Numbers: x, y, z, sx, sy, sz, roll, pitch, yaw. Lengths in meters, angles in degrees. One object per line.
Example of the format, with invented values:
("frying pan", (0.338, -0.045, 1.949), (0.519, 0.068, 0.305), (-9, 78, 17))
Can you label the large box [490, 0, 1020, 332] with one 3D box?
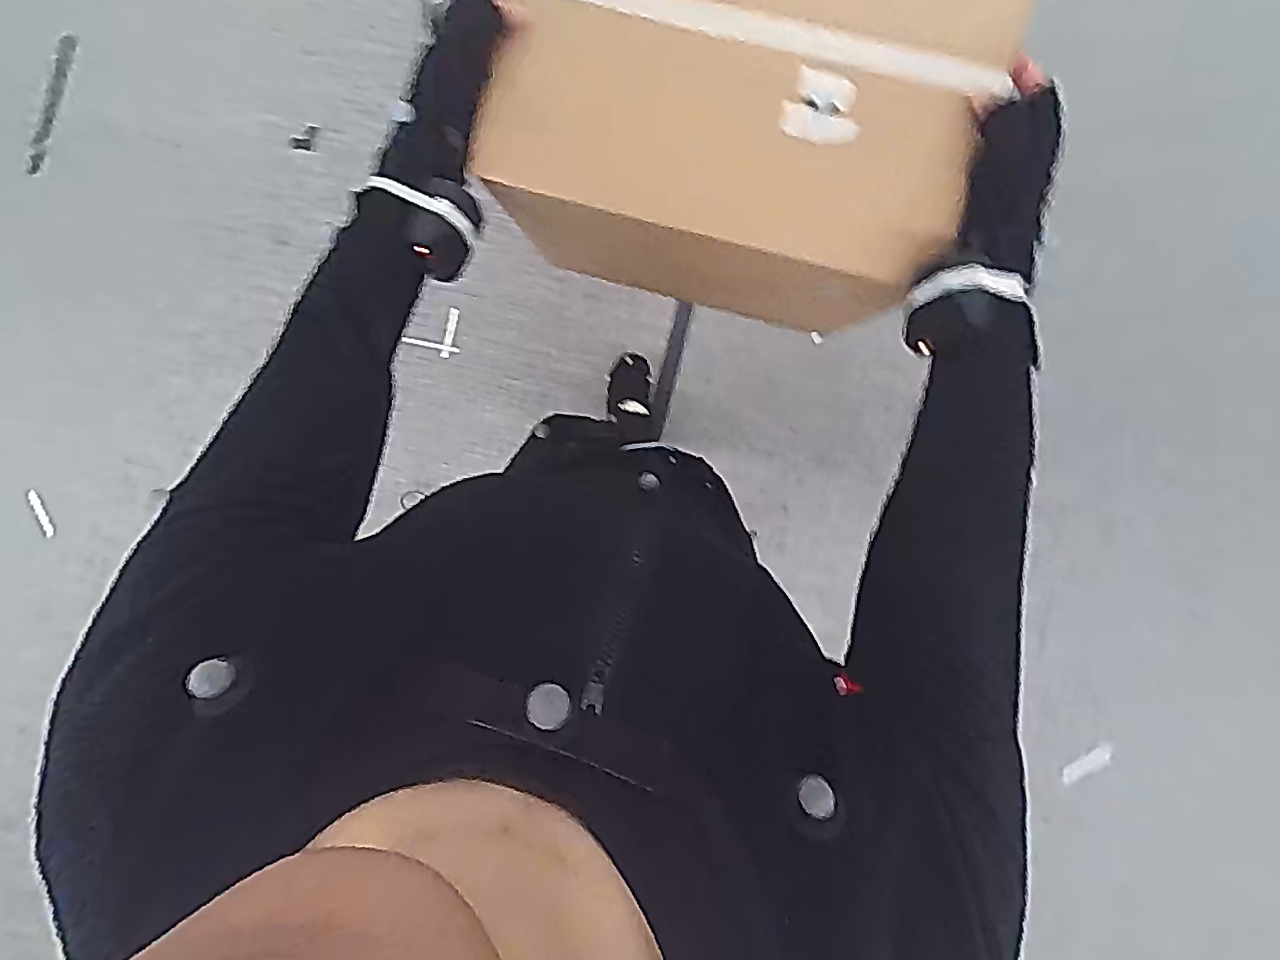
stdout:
("large box", (0.098, -0.378, 0.593), (0.408, 0.320, 0.320), (14, 99, -1))
